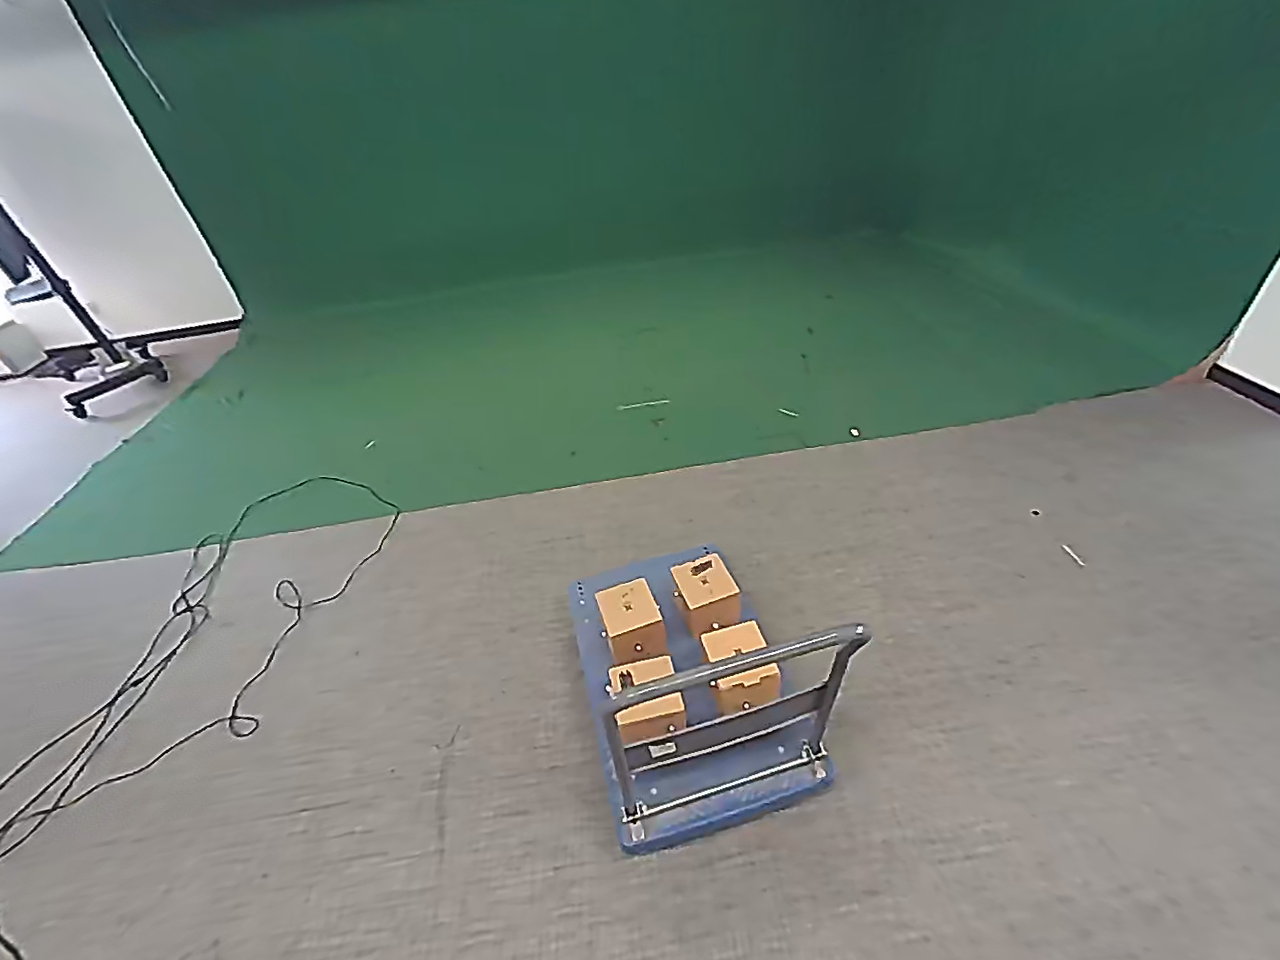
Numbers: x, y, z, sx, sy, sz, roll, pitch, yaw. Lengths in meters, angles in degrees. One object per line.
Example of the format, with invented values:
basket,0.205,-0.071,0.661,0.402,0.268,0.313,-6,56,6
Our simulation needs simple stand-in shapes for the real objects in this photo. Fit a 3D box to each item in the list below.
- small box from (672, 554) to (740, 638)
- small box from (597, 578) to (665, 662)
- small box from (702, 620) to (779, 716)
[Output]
small box,0.211,0.374,1.747,0.168,0.176,0.179,-17,41,-9
small box,-0.026,0.446,1.701,0.168,0.176,0.179,-16,40,-11
small box,0.281,0.536,1.543,0.168,0.176,0.179,-14,40,-7
